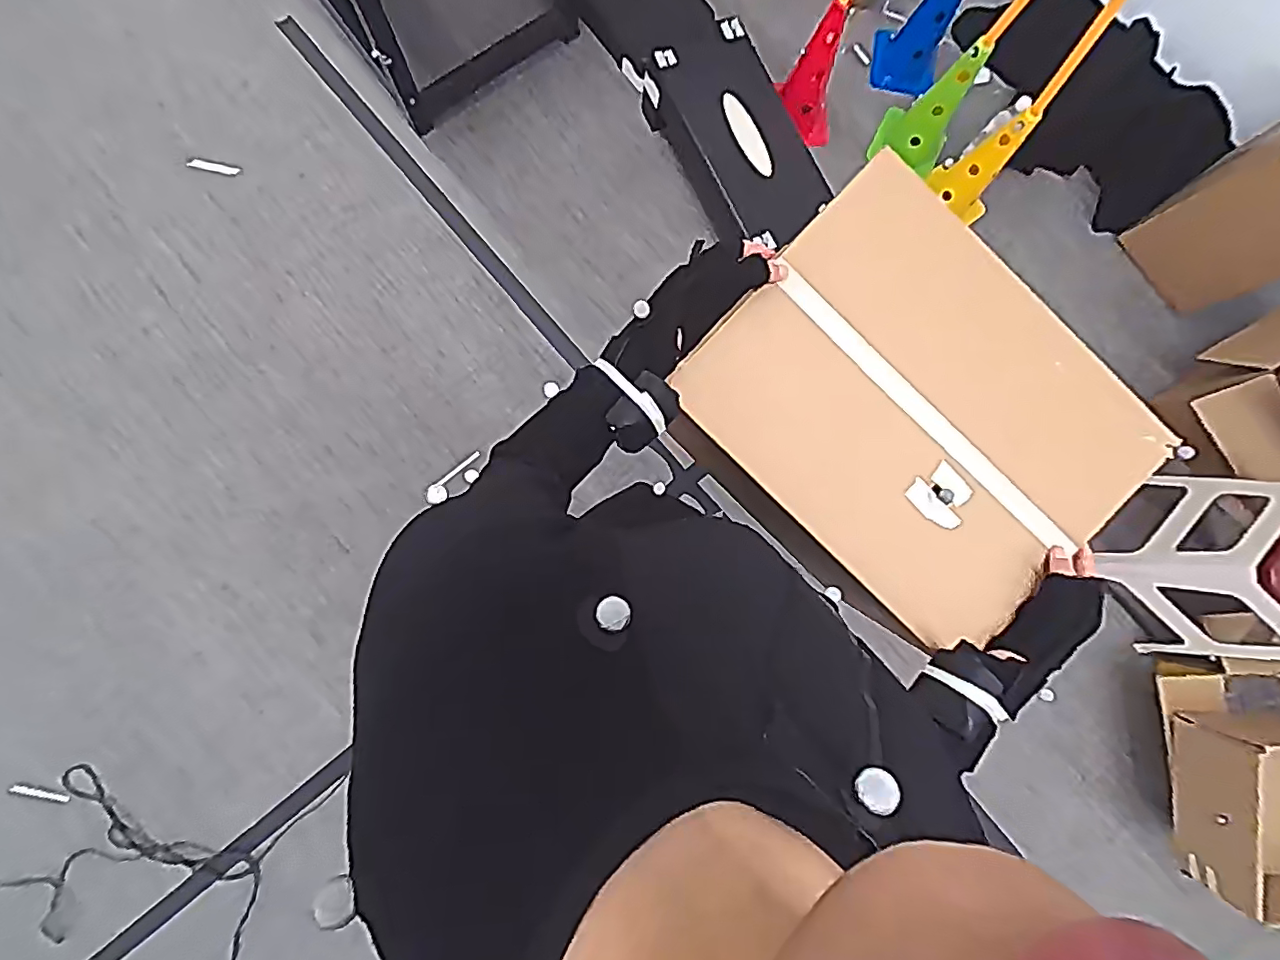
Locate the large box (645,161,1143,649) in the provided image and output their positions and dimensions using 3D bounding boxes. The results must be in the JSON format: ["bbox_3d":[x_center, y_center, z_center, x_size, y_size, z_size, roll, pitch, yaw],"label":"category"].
[{"bbox_3d":[0.257,-0.077,0.683,0.408,0.320,0.320,44,91,-4],"label":"large box"}]
